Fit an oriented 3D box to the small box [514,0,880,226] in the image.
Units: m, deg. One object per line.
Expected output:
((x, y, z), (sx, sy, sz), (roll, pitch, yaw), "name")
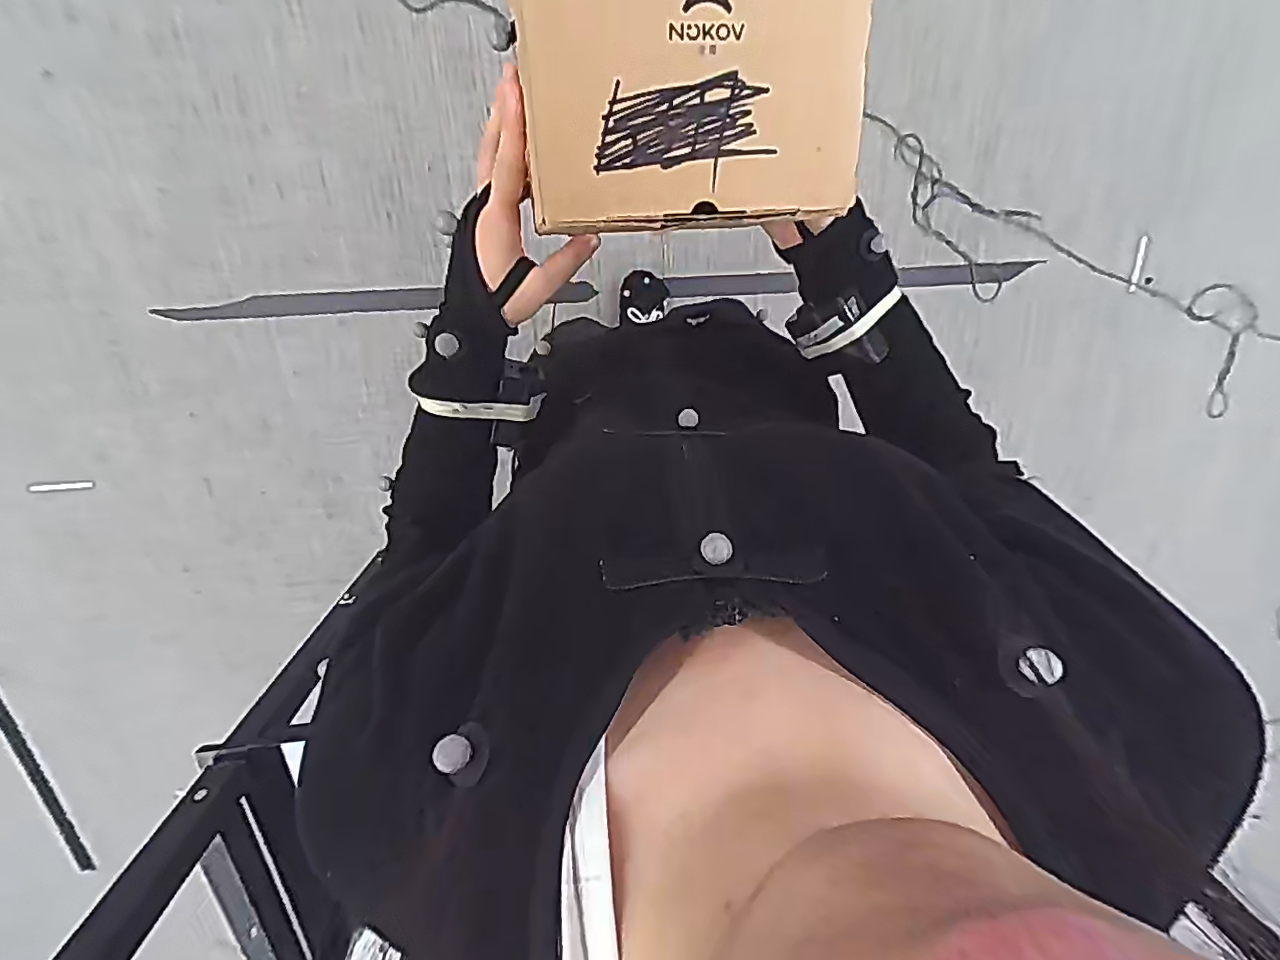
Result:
((0.016, -0.245, 0.310), (0.168, 0.176, 0.179), (-7, 113, -10), "small box")
